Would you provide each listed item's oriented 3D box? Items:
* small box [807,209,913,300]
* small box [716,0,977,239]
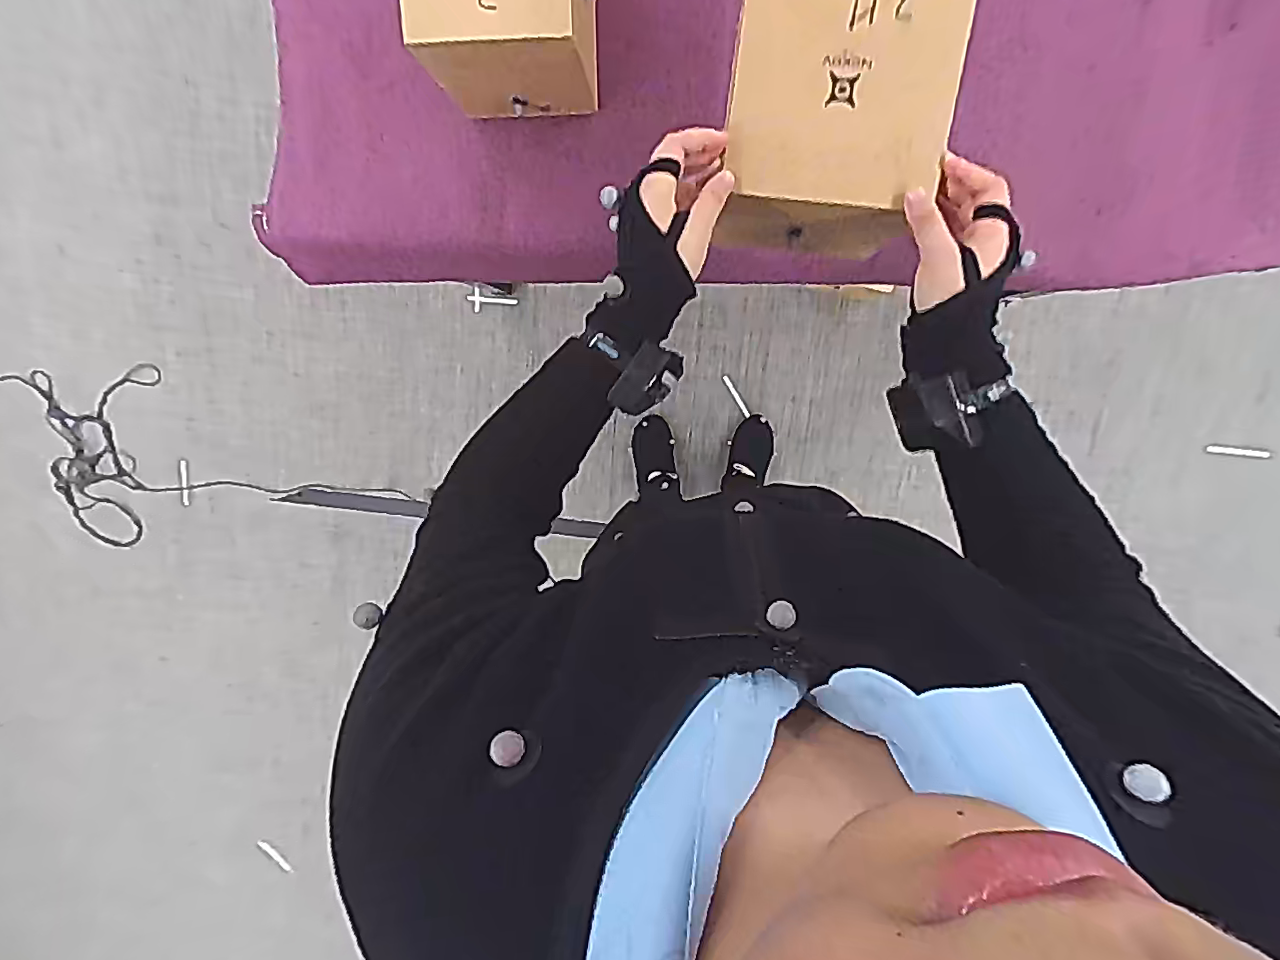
[{"bbox_3d":[0.506,-0.534,1.274,0.168,0.176,0.179,13,102,2],"label":"small box"},{"bbox_3d":[0.162,-0.327,0.480,0.168,0.176,0.179,8,102,3],"label":"small box"}]
